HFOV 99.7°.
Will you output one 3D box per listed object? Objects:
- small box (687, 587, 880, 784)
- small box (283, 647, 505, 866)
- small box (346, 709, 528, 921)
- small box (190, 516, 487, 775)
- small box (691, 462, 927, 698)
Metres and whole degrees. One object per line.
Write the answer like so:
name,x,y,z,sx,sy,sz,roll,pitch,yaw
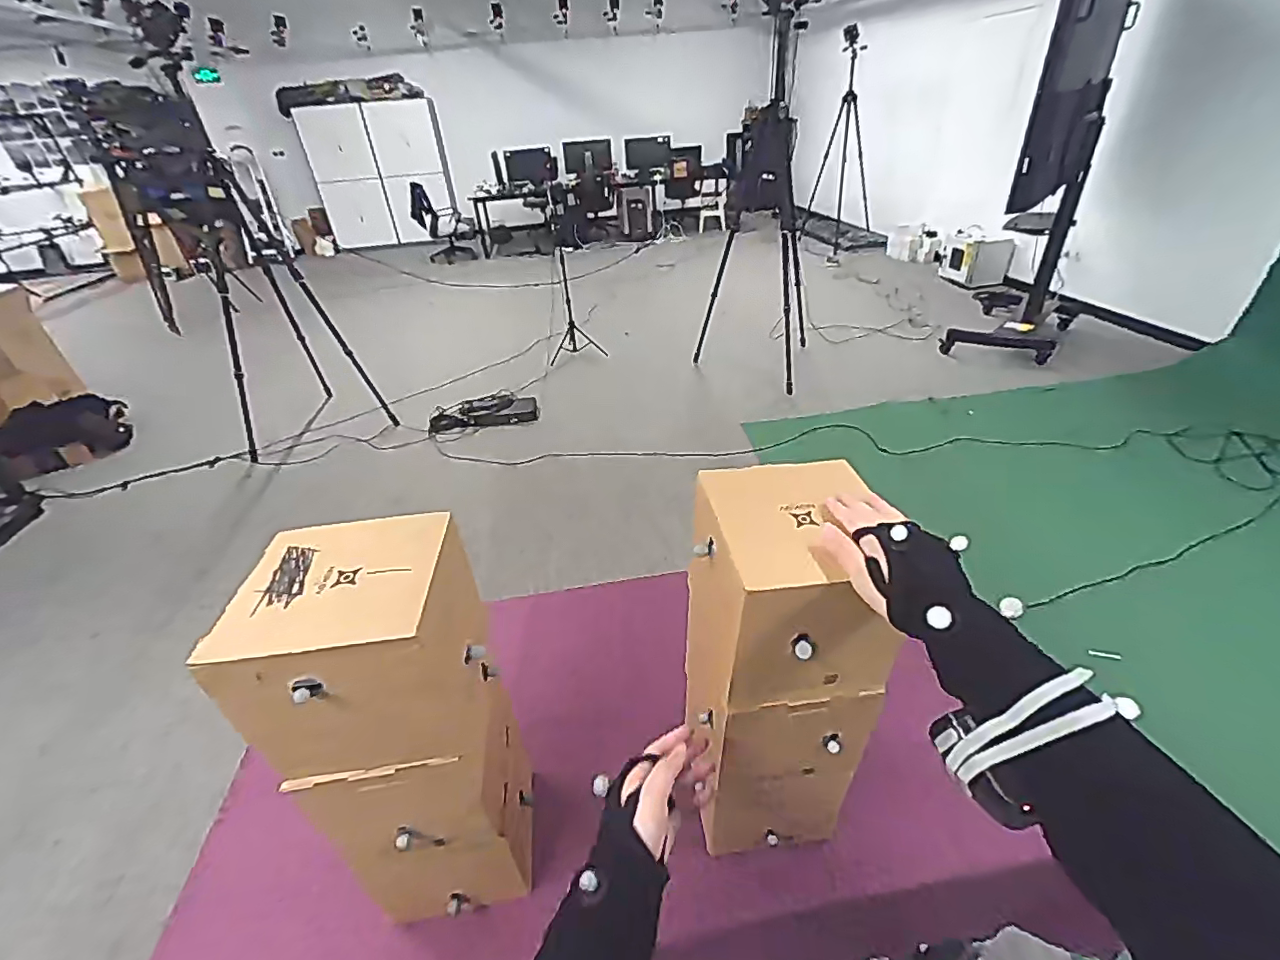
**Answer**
small box,0.154,0.237,0.647,0.168,0.176,0.179,-6,34,-7
small box,-0.255,0.295,0.616,0.168,0.176,0.179,-9,35,-4
small box,-0.244,0.434,0.705,0.179,0.176,0.168,-9,34,-7
small box,-0.262,0.158,0.524,0.179,0.176,0.168,-6,34,-4
small box,0.151,0.103,0.555,0.168,0.176,0.179,-5,35,-7
